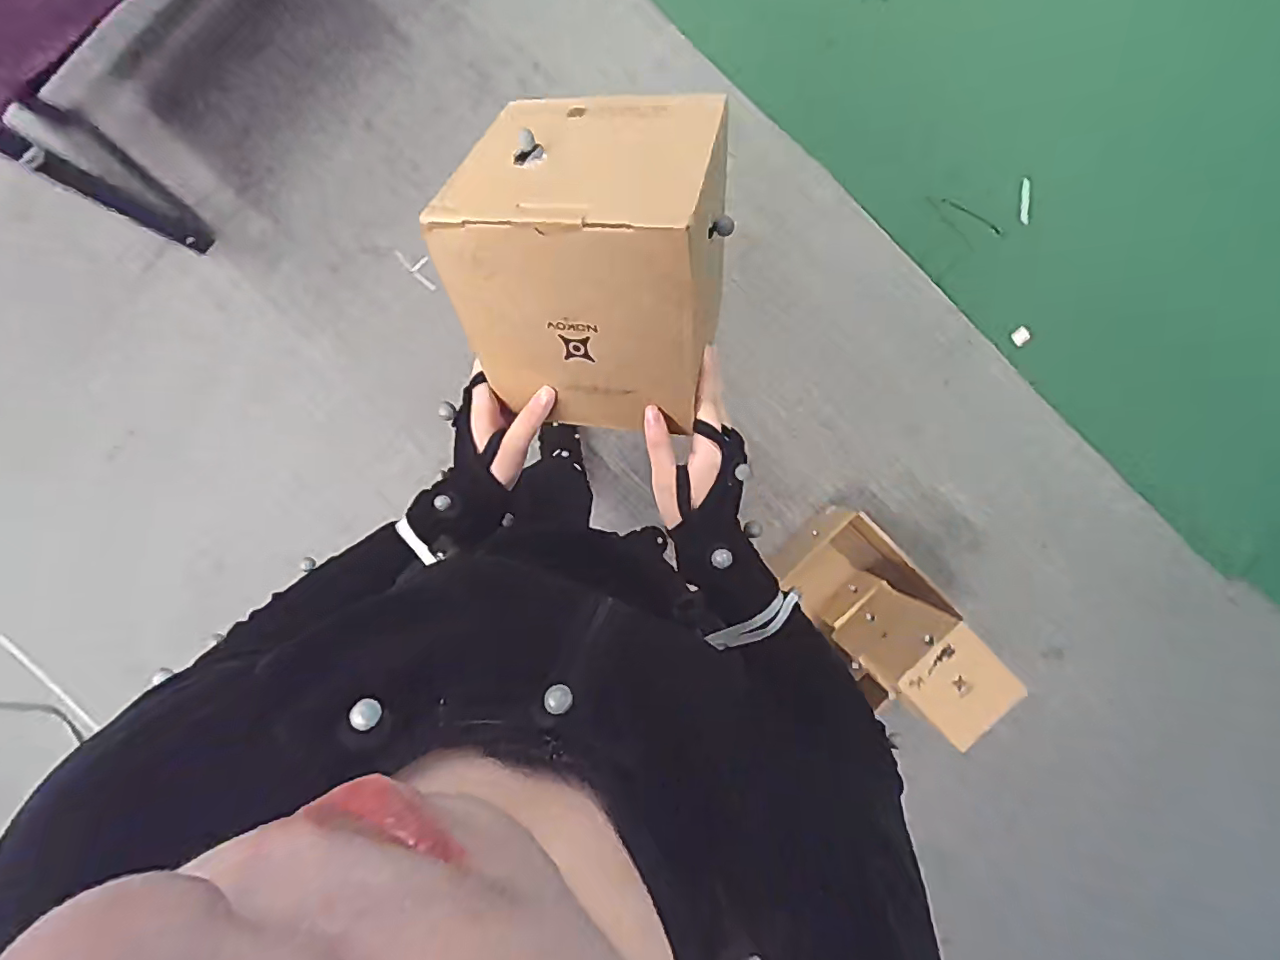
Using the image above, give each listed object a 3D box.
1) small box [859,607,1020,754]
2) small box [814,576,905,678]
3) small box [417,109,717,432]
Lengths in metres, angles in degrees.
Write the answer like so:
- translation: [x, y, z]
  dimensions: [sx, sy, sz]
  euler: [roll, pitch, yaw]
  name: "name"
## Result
- translation: [0.567, 0.376, 1.049]
  dimensions: [0.168, 0.176, 0.179]
  euler: [-42, 91, 0]
  name: "small box"
- translation: [0.576, 0.363, 1.378]
  dimensions: [0.168, 0.176, 0.179]
  euler: [-41, 90, 1]
  name: "small box"
- translation: [-0.034, -0.162, 0.420]
  dimensions: [0.168, 0.179, 0.176]
  euler: [7, 57, 11]
  name: "small box"
